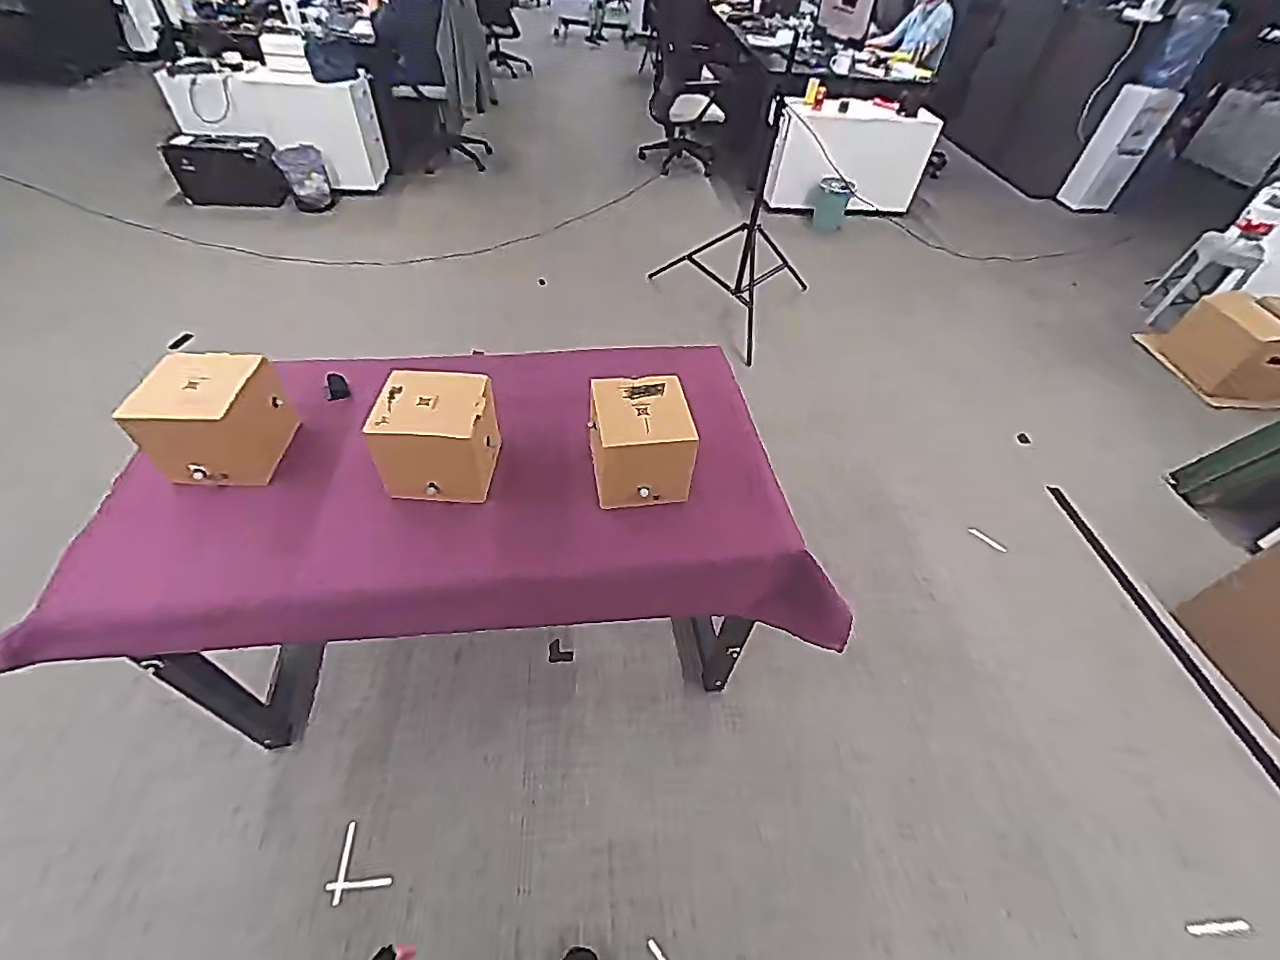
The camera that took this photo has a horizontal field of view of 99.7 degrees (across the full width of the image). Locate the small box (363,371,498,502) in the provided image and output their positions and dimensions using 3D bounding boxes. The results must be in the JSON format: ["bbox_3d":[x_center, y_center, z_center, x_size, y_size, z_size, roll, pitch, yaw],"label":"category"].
[{"bbox_3d":[-0.363,-0.074,0.980,0.179,0.176,0.168,4,48,-3],"label":"small box"}]

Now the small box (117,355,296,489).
[{"bbox_3d":[-0.754,-0.104,0.971,0.168,0.176,0.179,0,49,-4],"label":"small box"}]

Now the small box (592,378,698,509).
[{"bbox_3d":[0.000,-0.069,1.008,0.168,0.176,0.179,-5,49,-9],"label":"small box"}]
